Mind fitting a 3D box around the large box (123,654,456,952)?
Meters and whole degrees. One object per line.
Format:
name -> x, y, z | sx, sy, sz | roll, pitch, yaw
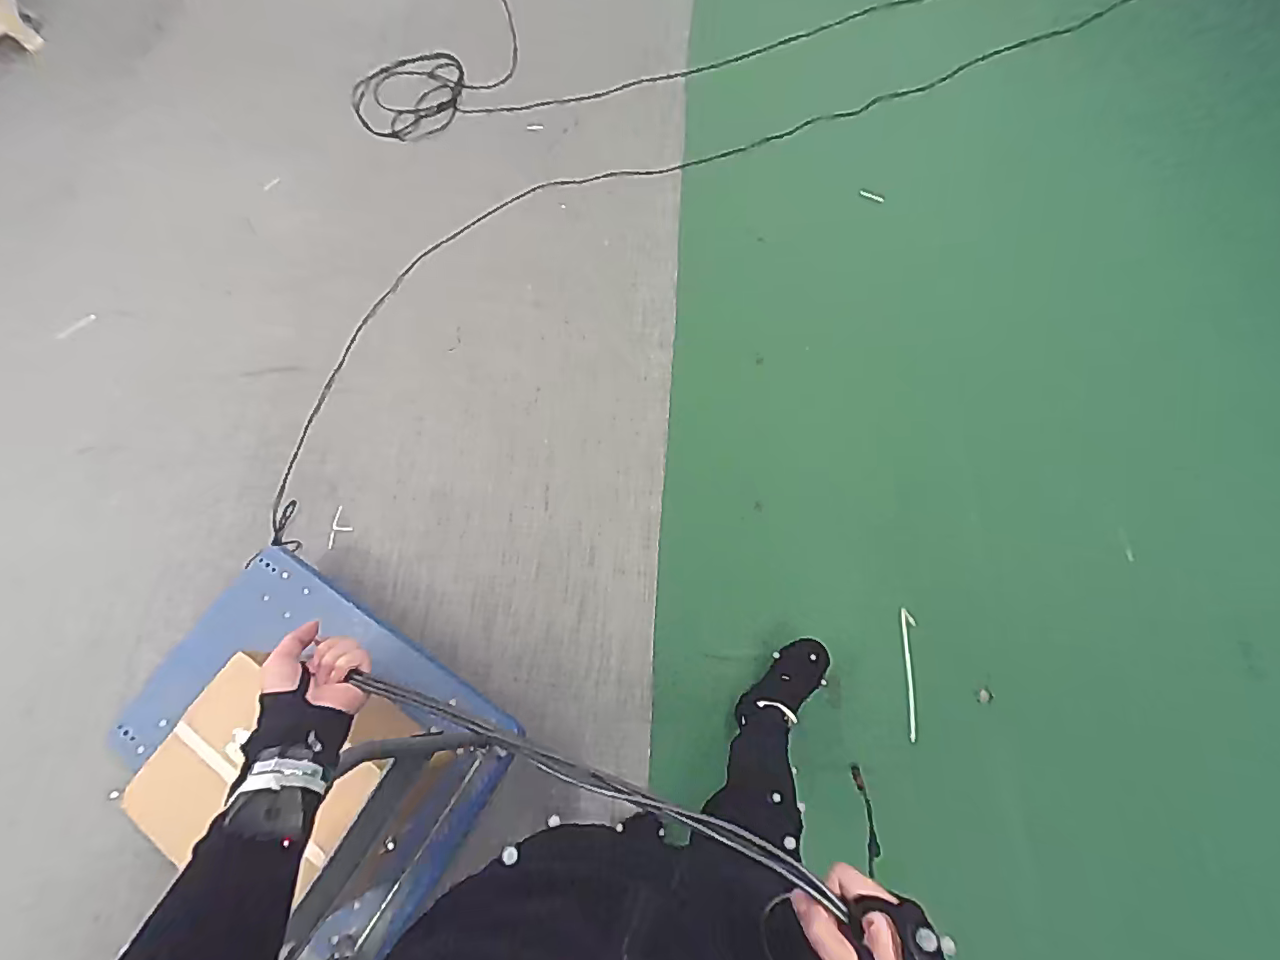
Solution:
large box -> -0.667, 0.602, 1.093 | 0.408, 0.320, 0.320 | 29, 73, 16
